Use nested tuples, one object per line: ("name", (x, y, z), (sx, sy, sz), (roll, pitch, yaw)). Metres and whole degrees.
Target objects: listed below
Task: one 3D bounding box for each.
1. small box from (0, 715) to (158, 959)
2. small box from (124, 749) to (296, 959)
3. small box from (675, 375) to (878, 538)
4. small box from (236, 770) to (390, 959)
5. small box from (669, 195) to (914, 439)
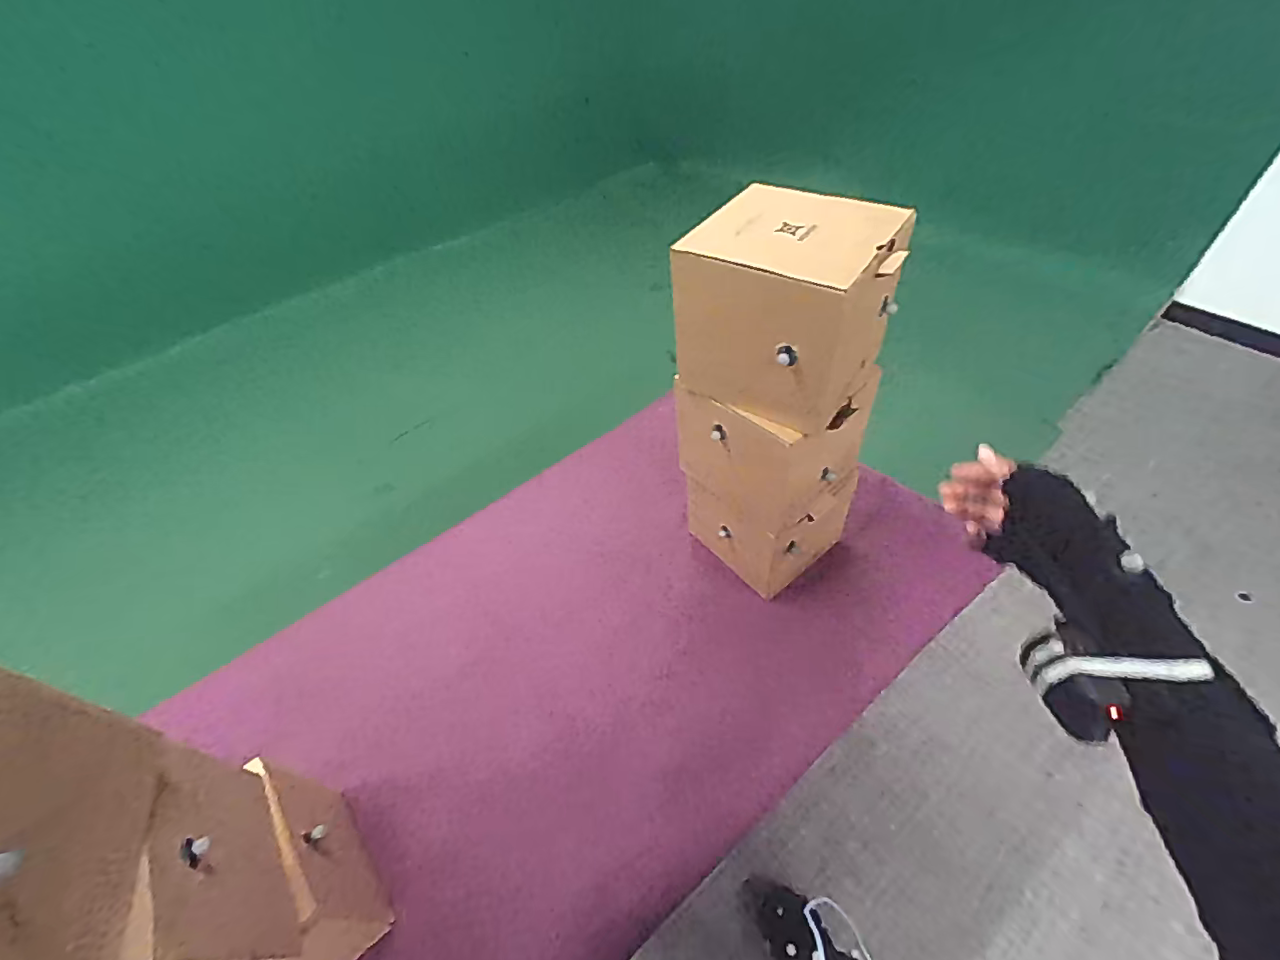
("small box", (-0.416, 0.243, 0.290), (0.168, 0.176, 0.179), (-17, 52, -10))
("small box", (-0.402, 0.350, 0.413), (0.168, 0.176, 0.179), (-31, 53, -20))
("small box", (0.163, -0.058, 0.690), (0.168, 0.176, 0.179), (-38, 55, -22))
("small box", (-0.392, 0.443, 0.550), (0.168, 0.176, 0.179), (-36, 56, -23))
("small box", (0.151, -0.168, 0.570), (0.179, 0.176, 0.168), (26, 57, 27))
